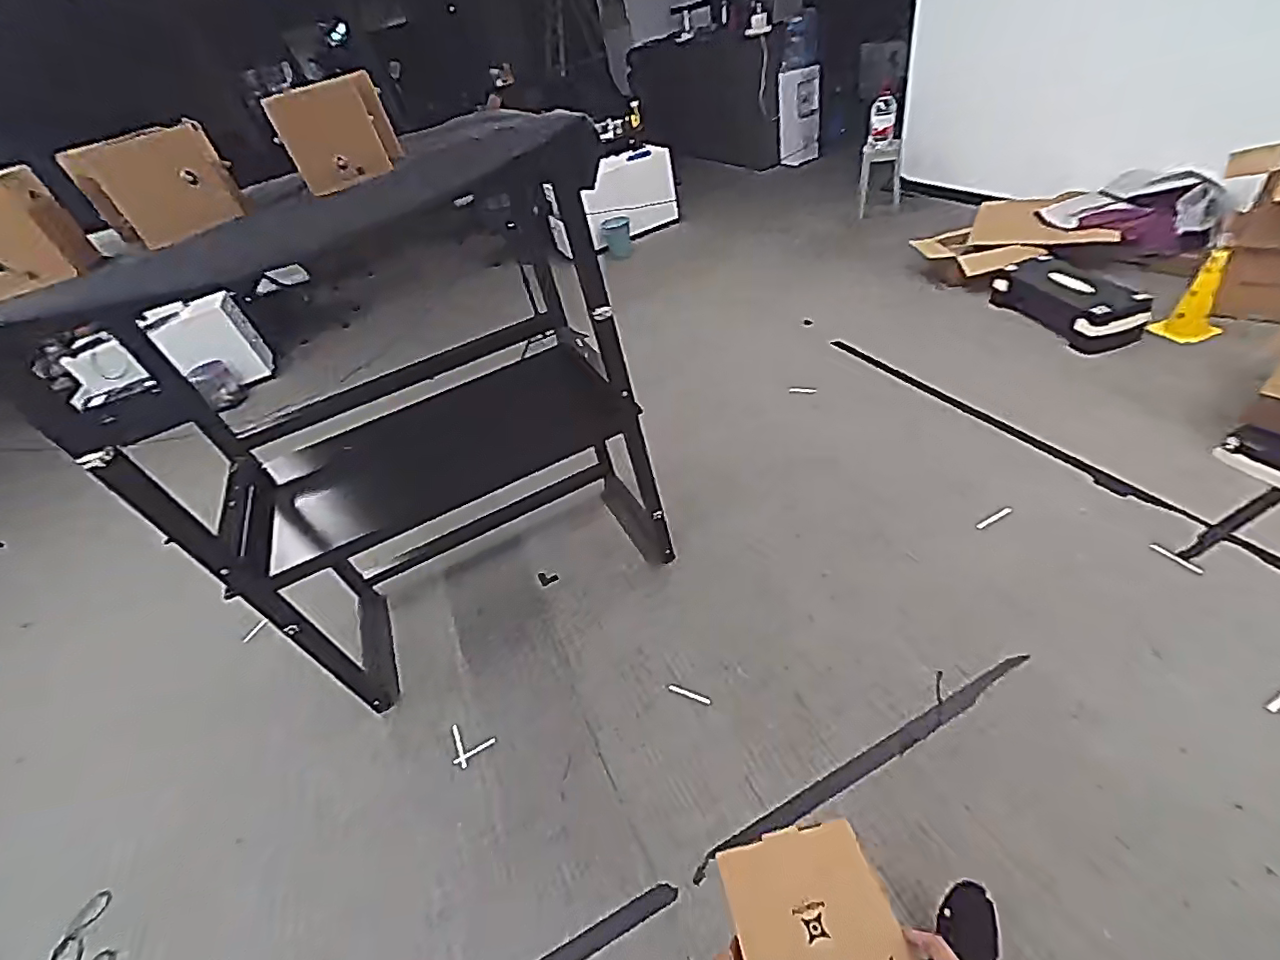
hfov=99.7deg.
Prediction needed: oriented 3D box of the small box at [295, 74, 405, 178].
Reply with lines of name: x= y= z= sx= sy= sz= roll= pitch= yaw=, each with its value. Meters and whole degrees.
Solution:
small box: x=-0.678 y=-0.833 z=1.275 sx=0.168 sy=0.176 sz=0.179 roll=-26 pitch=42 yaw=-11

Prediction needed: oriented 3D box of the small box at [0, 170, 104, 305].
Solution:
small box: x=-1.128 y=-0.433 z=0.968 sx=0.168 sy=0.176 sz=0.179 roll=-28 pitch=43 yaw=-15

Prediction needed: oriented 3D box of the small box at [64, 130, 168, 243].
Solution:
small box: x=-1.071 y=-0.639 z=1.181 sx=0.168 sy=0.176 sz=0.179 roll=-26 pitch=41 yaw=-12

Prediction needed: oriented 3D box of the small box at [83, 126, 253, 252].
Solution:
small box: x=-0.885 y=-0.562 z=1.039 sx=0.179 sy=0.176 sz=0.168 roll=-27 pitch=40 yaw=-15
